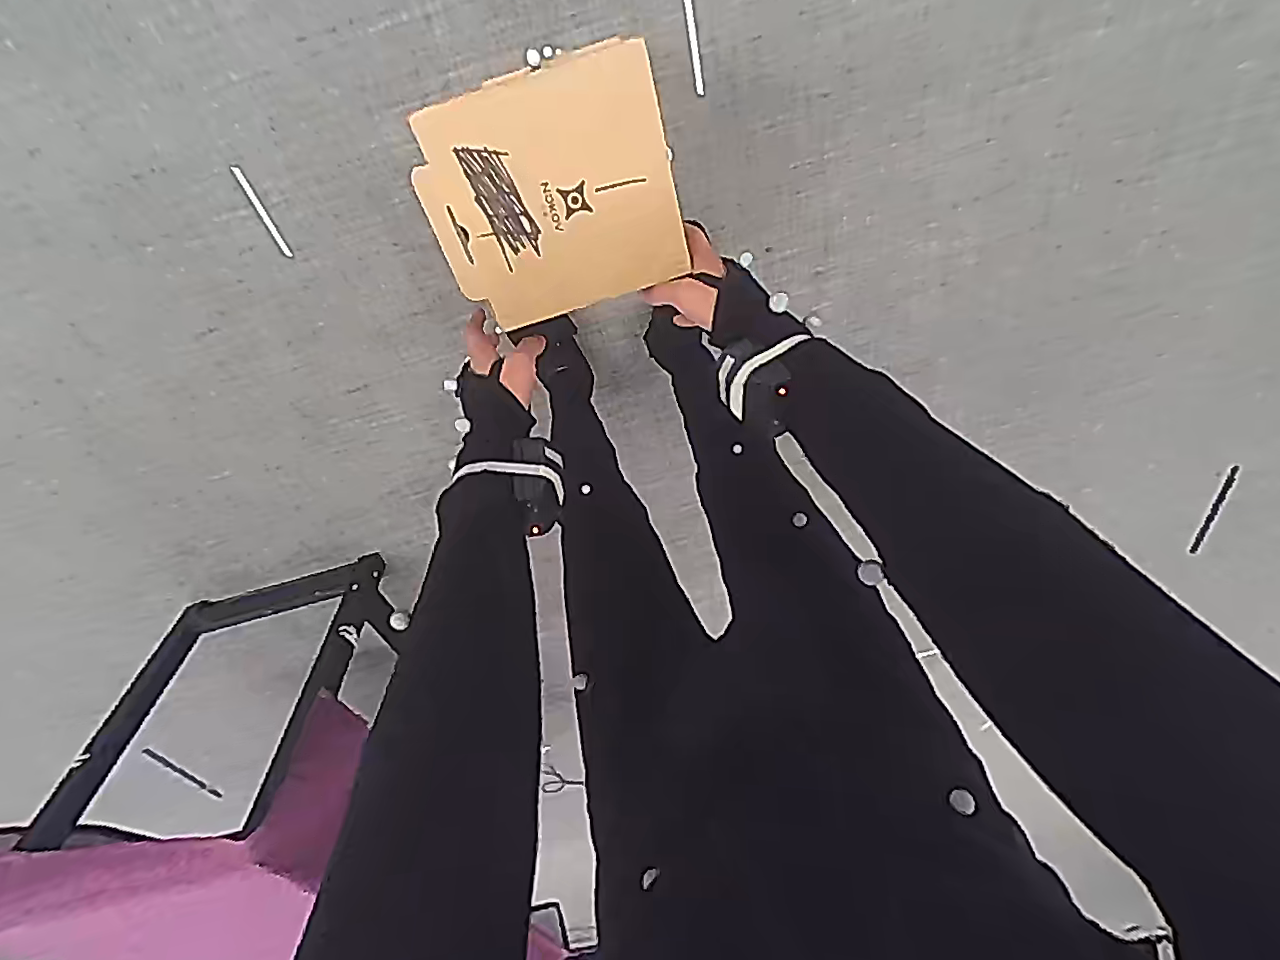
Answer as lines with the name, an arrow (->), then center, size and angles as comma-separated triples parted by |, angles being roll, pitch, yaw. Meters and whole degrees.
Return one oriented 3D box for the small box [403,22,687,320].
small box -> -0.071, -0.267, 0.476 | 0.179, 0.176, 0.168 | -16, 127, 3
